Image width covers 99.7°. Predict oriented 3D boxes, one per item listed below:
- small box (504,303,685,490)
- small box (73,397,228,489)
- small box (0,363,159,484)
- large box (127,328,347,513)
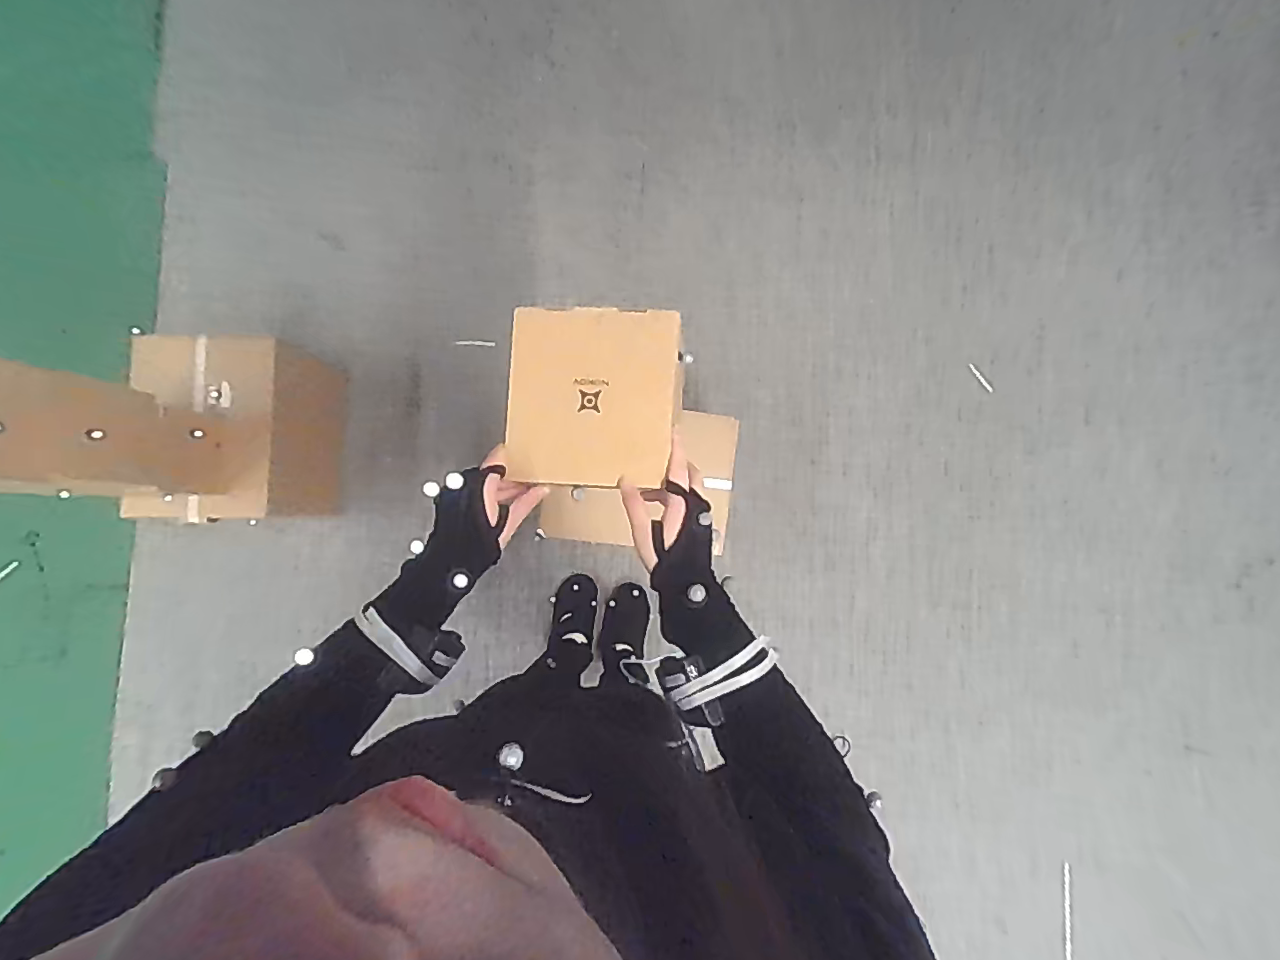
[{"bbox_3d":[-0.039,-0.081,0.599,0.168,0.176,0.179,4,88,6],"label":"small box"},{"bbox_3d":[-0.965,-0.069,1.074,0.179,0.176,0.168,0,86,0],"label":"small box"},{"bbox_3d":[-0.962,-0.085,0.911,0.168,0.176,0.179,-4,86,-2],"label":"small box"},{"bbox_3d":[-0.951,-0.124,1.322,0.320,0.320,0.408,1,86,-1],"label":"large box"}]
